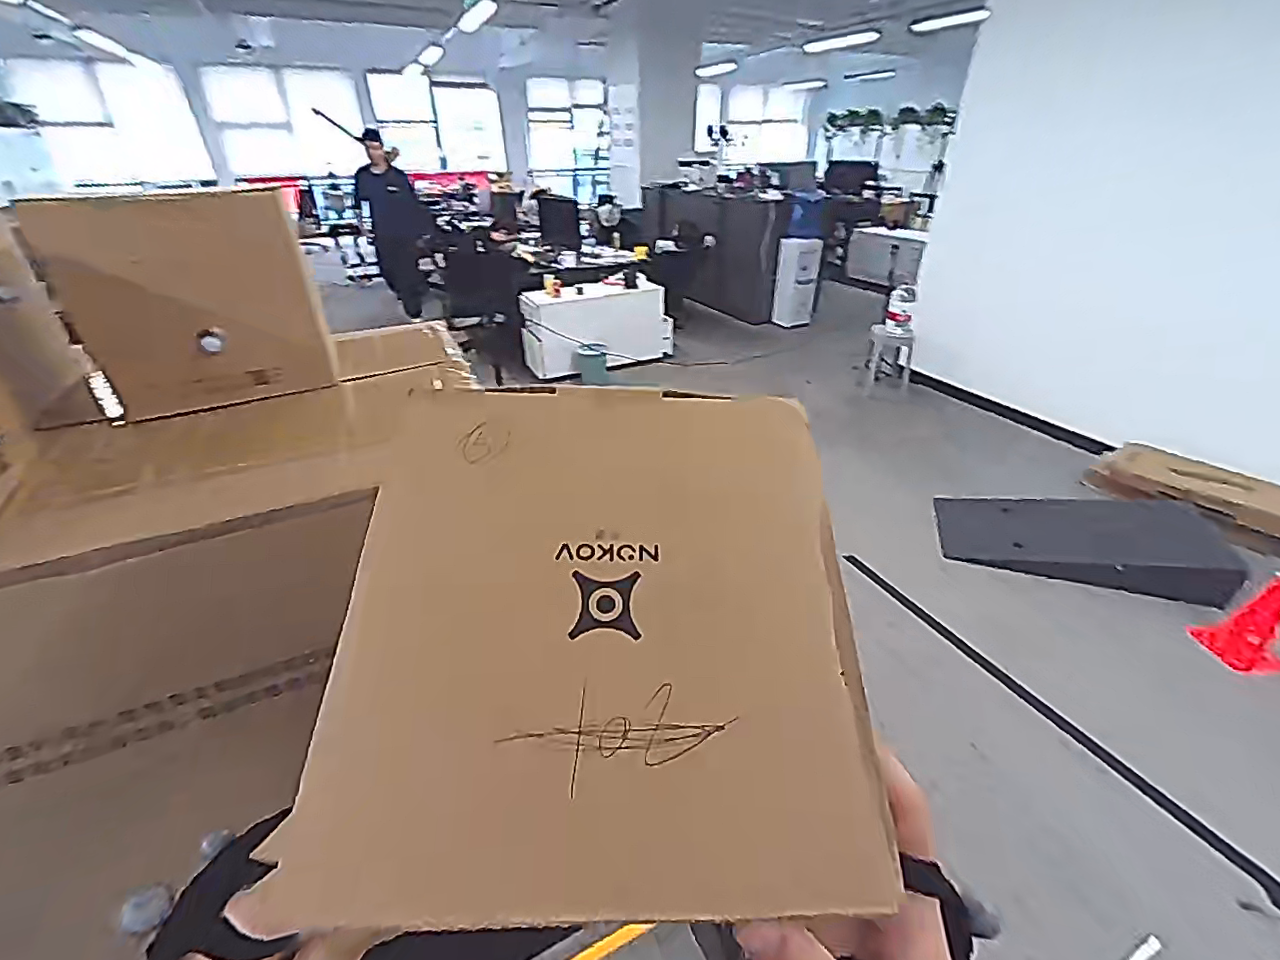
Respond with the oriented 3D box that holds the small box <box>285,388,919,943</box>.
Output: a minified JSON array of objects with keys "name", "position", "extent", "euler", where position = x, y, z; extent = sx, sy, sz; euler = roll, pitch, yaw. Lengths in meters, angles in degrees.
[{"name":"small box","position":[-0.013,0.080,0.248],"extent":[0.168,0.176,0.179],"euler":[1,60,-3]}]
